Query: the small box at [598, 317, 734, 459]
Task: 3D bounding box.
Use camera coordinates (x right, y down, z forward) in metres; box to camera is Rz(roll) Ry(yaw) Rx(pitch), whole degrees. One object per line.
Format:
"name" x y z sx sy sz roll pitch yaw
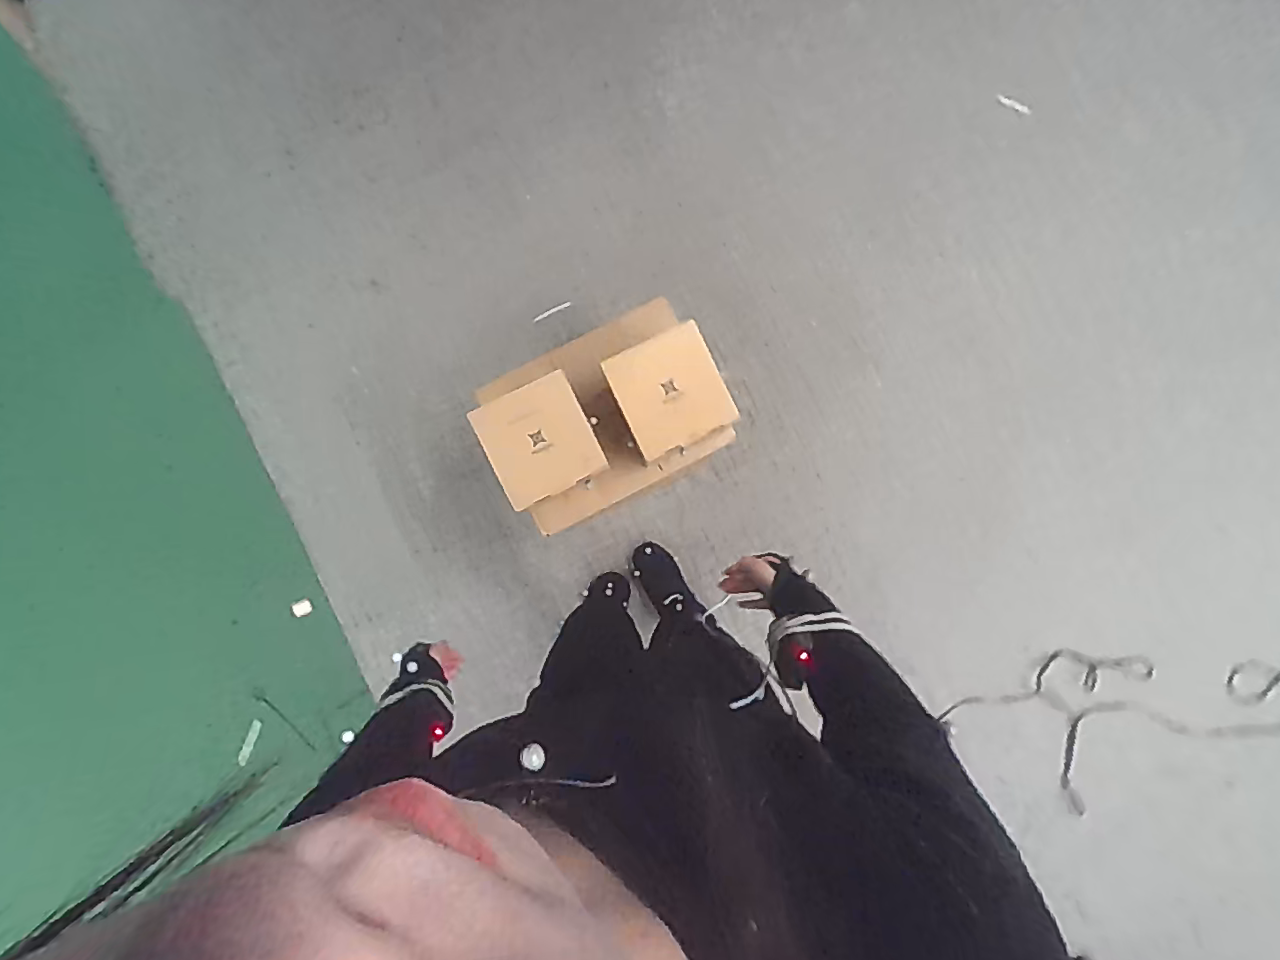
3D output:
"small box" 0.038 -0.146 0.929 0.168 0.176 0.179 -25 90 -1

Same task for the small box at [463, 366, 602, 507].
"small box" -0.171 -0.069 0.923 0.168 0.176 0.179 -26 91 -4
